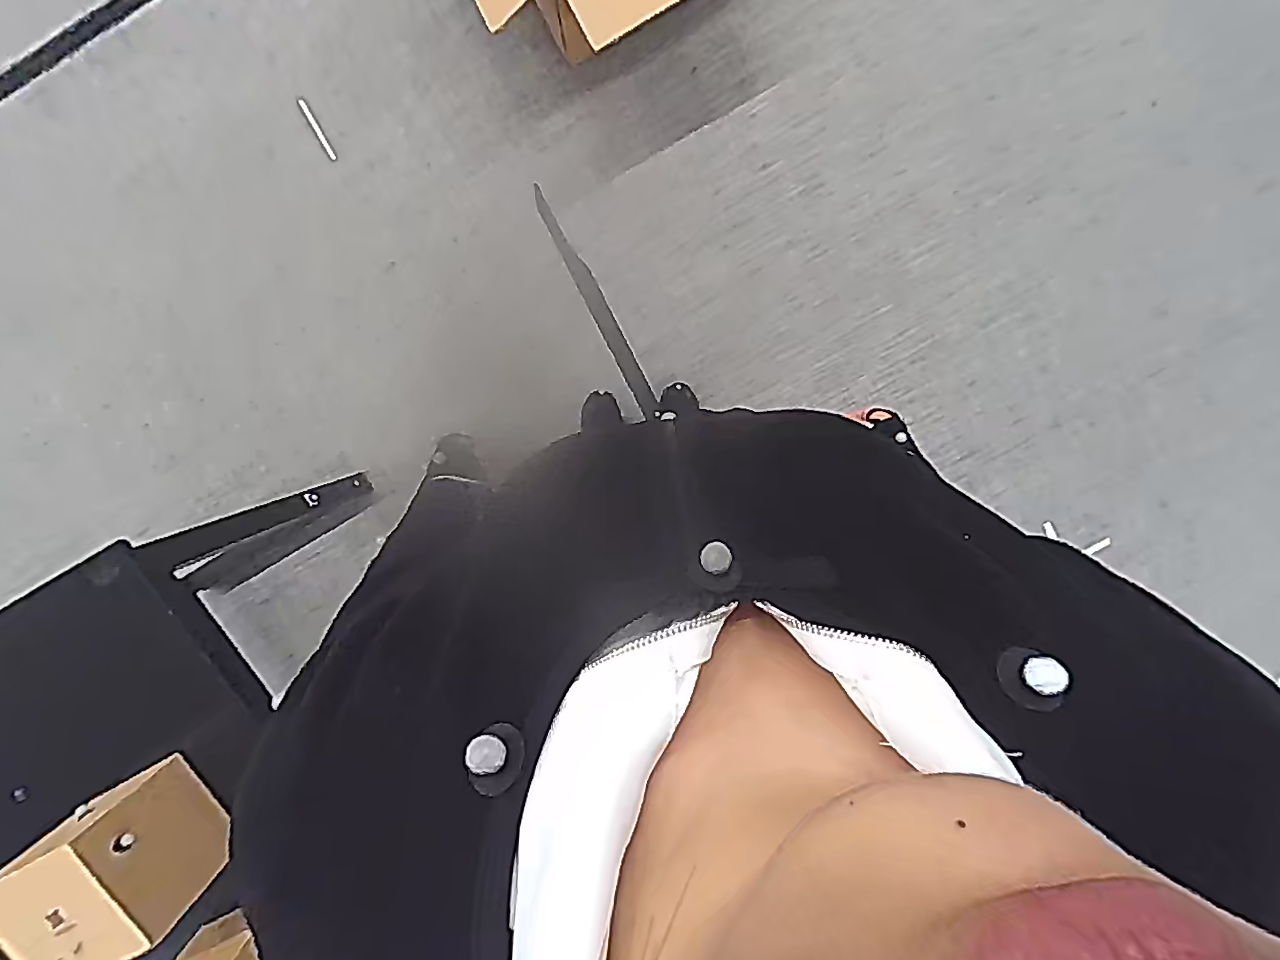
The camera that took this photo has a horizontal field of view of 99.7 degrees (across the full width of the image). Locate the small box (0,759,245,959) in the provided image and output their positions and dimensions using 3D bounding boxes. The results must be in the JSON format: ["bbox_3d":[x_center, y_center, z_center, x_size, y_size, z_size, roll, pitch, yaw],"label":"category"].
[{"bbox_3d":[-0.722,0.530,0.760,0.168,0.176,0.179,-29,99,5],"label":"small box"}]

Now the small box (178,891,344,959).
[{"bbox_3d":[-0.591,0.762,0.804,0.168,0.176,0.179,-28,100,4],"label":"small box"}]
